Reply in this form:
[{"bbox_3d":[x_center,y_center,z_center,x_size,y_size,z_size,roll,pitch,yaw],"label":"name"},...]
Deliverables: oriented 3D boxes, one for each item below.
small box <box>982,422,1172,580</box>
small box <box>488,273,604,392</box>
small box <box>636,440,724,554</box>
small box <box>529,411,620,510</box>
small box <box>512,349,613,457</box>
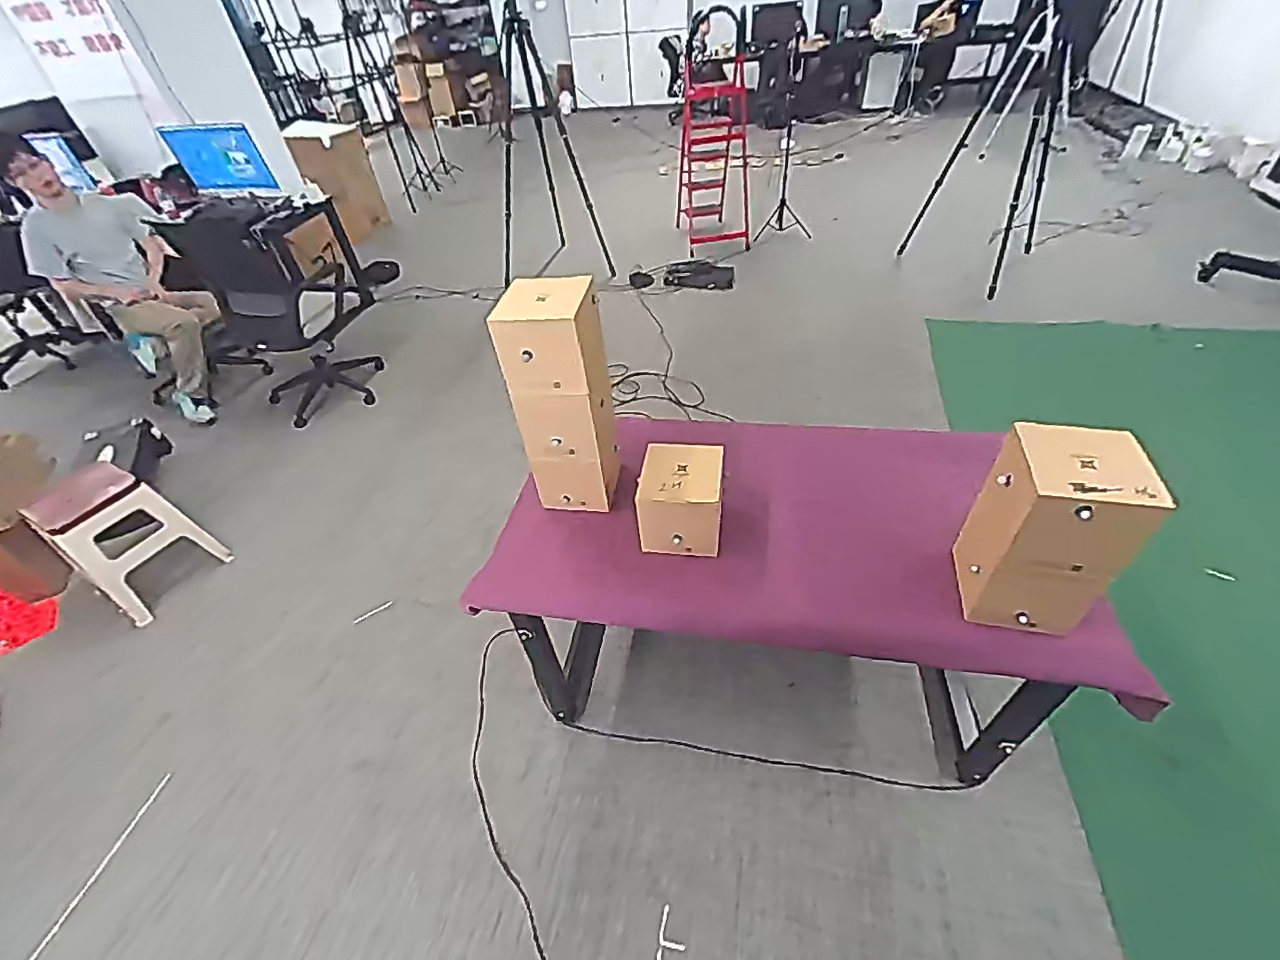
[{"bbox_3d":[0.673,0.031,0.863,0.168,0.176,0.179,7,44,16],"label":"small box"},{"bbox_3d":[-0.174,-0.287,1.066,0.168,0.176,0.179,1,44,10],"label":"small box"},{"bbox_3d":[0.091,0.035,1.169,0.168,0.176,0.179,3,45,11],"label":"small box"},{"bbox_3d":[-0.147,-0.052,1.290,0.168,0.176,0.179,2,45,10],"label":"small box"},{"bbox_3d":[-0.159,-0.171,1.178,0.168,0.176,0.179,2,45,10],"label":"small box"}]
